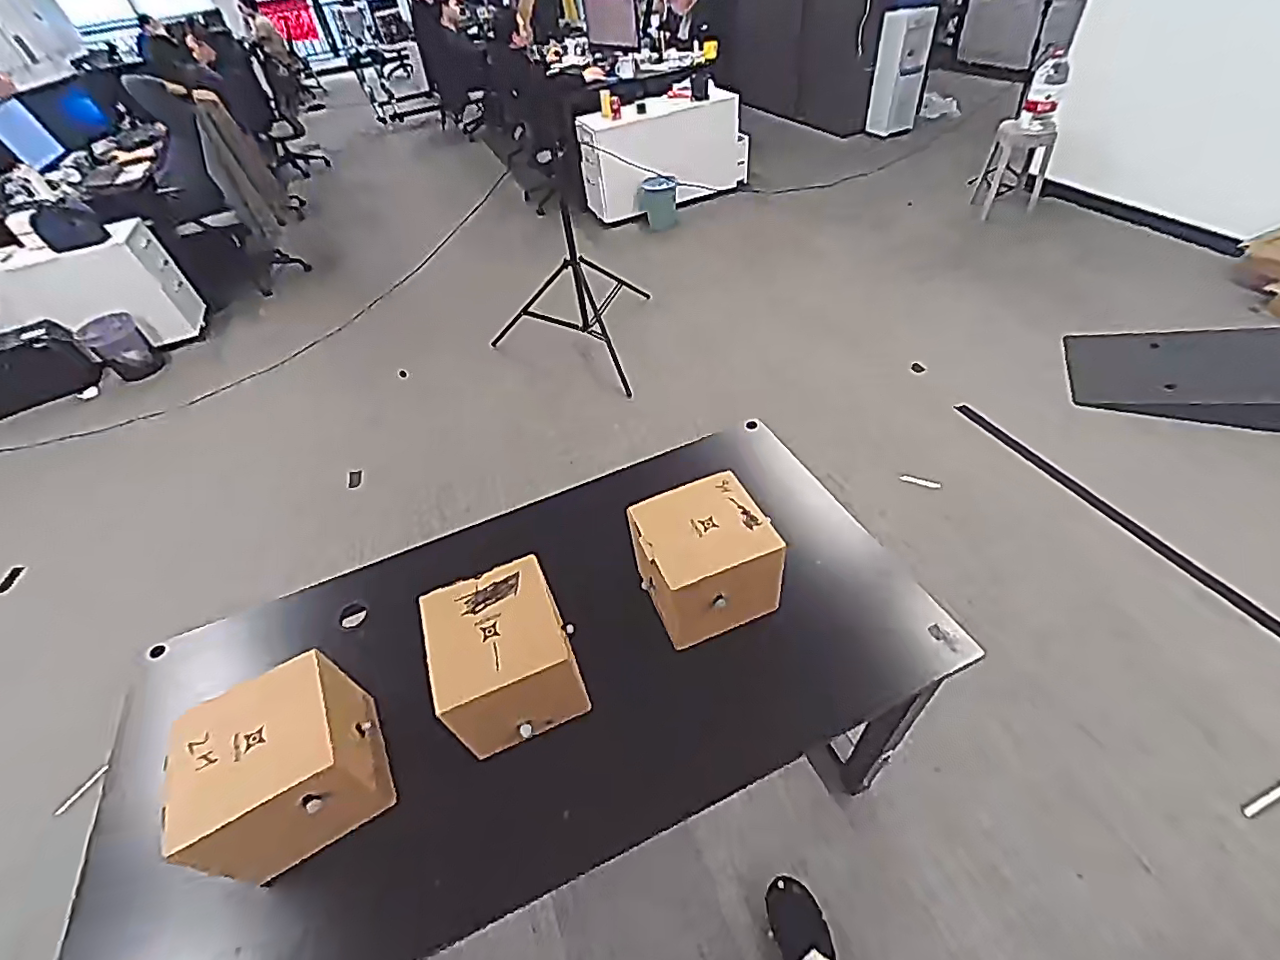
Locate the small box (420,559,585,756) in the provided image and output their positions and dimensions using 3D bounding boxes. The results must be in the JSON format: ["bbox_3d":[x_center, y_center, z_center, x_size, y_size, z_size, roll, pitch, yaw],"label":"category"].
[{"bbox_3d":[-0.189,0.249,0.757,0.168,0.176,0.179,-21,48,-11],"label":"small box"}]

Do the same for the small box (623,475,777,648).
[{"bbox_3d":[0.092,0.128,0.831,0.179,0.176,0.168,-20,47,-9],"label":"small box"}]

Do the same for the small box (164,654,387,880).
[{"bbox_3d":[-0.445,0.363,0.686,0.179,0.176,0.168,-27,49,-16],"label":"small box"}]
